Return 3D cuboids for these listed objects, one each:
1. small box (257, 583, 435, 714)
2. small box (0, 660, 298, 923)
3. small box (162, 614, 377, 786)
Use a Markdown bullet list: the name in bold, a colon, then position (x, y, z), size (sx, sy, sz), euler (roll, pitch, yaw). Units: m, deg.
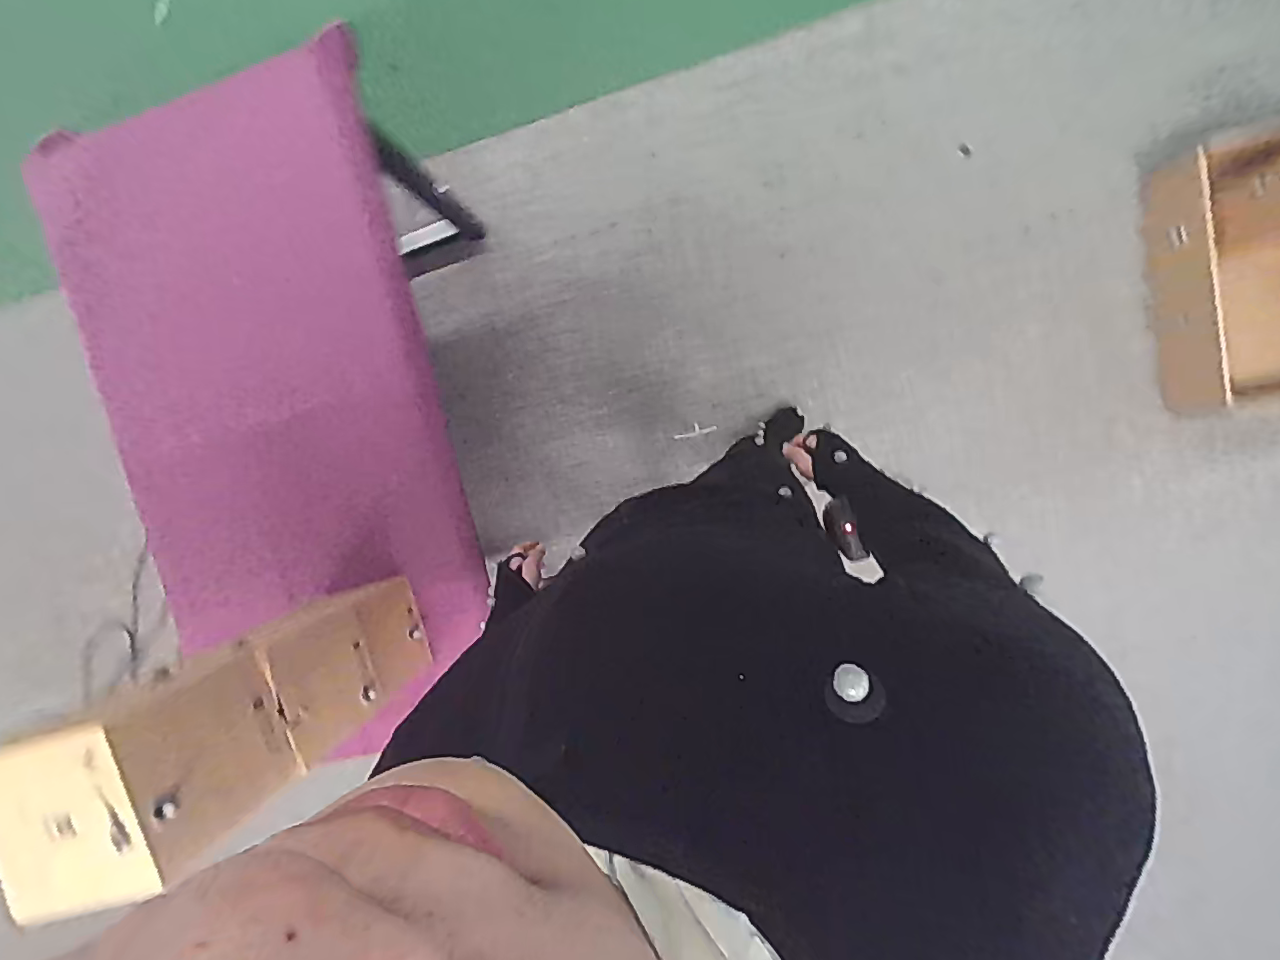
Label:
- **small box**: position (-0.480, 0.288, 0.905), size (0.179, 0.176, 0.168), euler (-17, 93, 8)
- **small box**: position (-0.523, 0.319, 0.582), size (0.179, 0.176, 0.168), euler (-17, 94, 10)
- **small box**: position (-0.494, 0.301, 0.742), size (0.179, 0.176, 0.168), euler (-17, 94, 10)
